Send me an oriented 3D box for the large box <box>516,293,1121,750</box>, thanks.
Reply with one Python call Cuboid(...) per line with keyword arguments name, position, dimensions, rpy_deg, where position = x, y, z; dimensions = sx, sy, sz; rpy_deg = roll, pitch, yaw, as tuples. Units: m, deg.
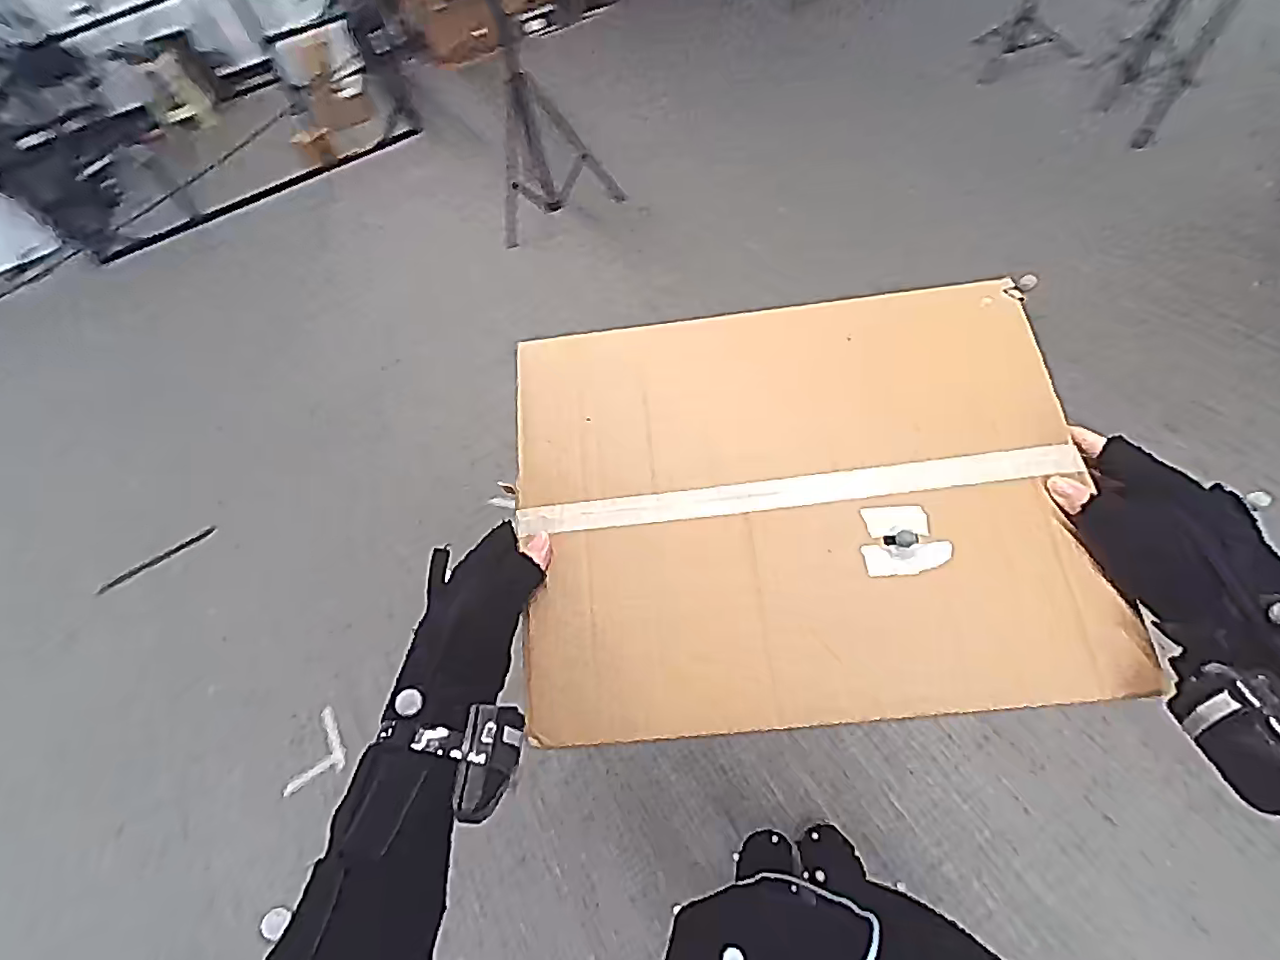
Cuboid(name="large box", position=(0.118, 0.062, 0.553), dimensions=(0.408, 0.320, 0.320), rpy_deg=(-8, 72, 2))
